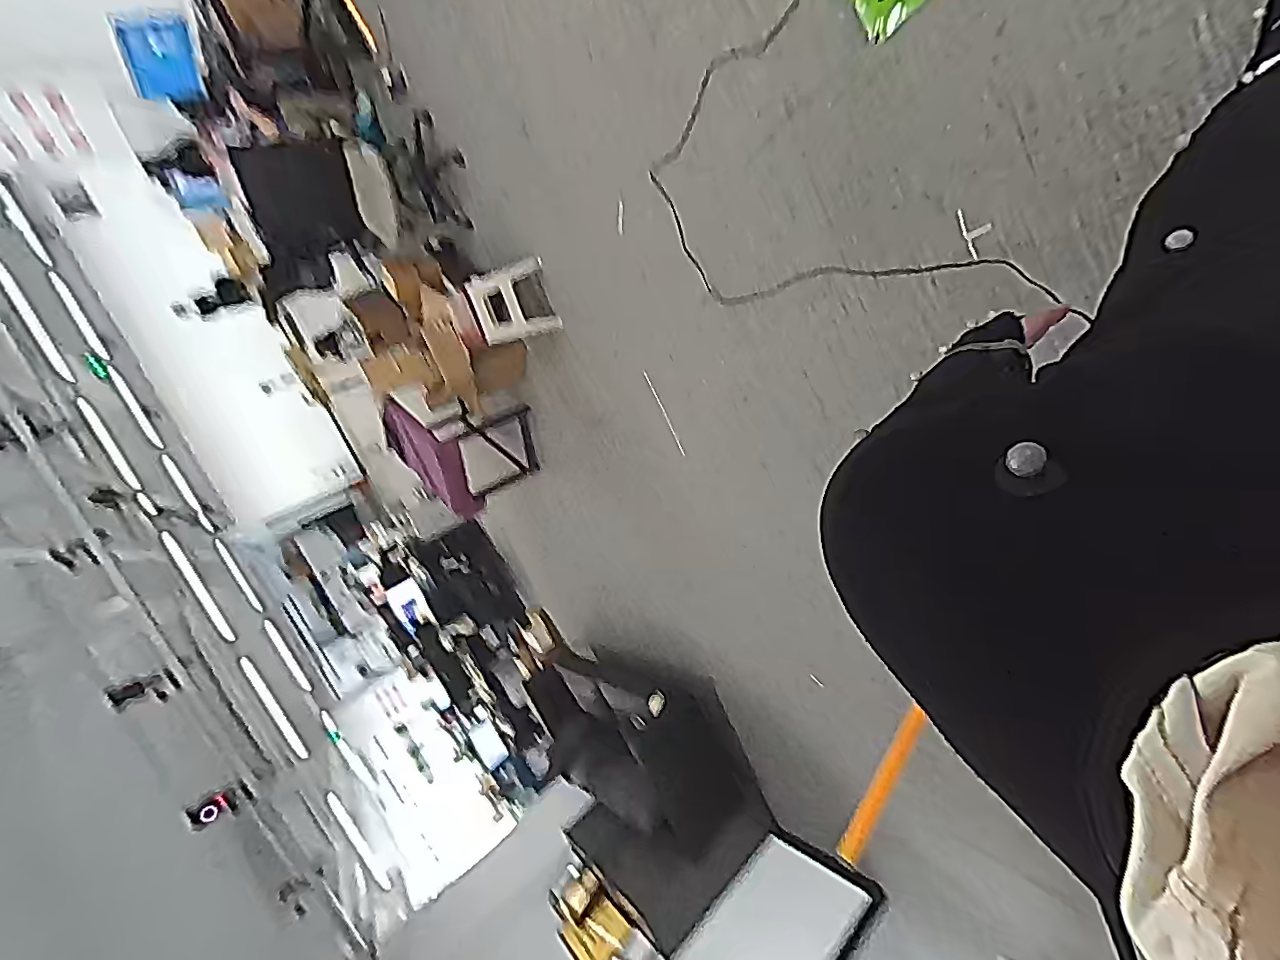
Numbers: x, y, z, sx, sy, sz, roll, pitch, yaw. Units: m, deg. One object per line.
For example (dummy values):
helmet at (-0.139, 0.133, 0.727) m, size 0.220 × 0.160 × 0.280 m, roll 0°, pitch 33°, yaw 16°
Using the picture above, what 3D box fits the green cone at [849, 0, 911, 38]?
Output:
green cone at (0.445, -1.123, 1.171) m, size 0.200 × 0.368 × 0.202 m, roll -18°, pitch 99°, yaw 59°
